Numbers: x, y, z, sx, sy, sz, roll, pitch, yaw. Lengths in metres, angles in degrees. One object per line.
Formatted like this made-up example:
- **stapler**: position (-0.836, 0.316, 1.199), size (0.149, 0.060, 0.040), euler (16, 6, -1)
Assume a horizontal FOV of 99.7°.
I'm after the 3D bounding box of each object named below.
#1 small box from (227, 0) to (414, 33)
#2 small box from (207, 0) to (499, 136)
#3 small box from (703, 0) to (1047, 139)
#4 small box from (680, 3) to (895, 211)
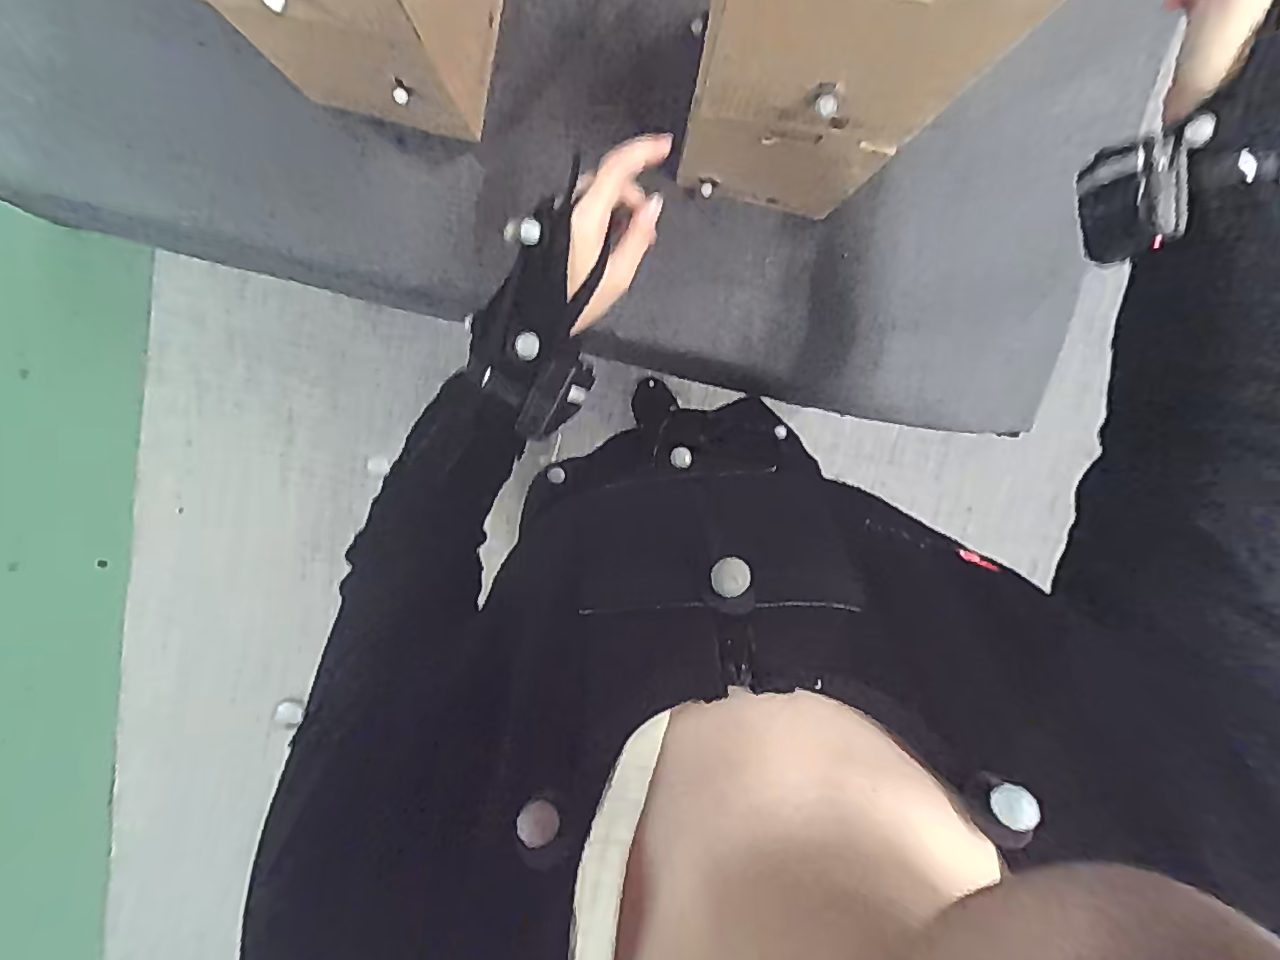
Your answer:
- **small box**: position (-0.228, -0.406, 0.306), size (0.179, 0.176, 0.168), euler (9, 96, -4)
- **small box**: position (-0.232, -0.434, 0.469), size (0.179, 0.176, 0.168), euler (11, 97, -3)
- **small box**: position (0.137, -0.347, 0.325), size (0.168, 0.176, 0.179), euler (7, 98, -2)
- **small box**: position (0.136, -0.372, 0.488), size (0.168, 0.176, 0.179), euler (12, 97, -4)
